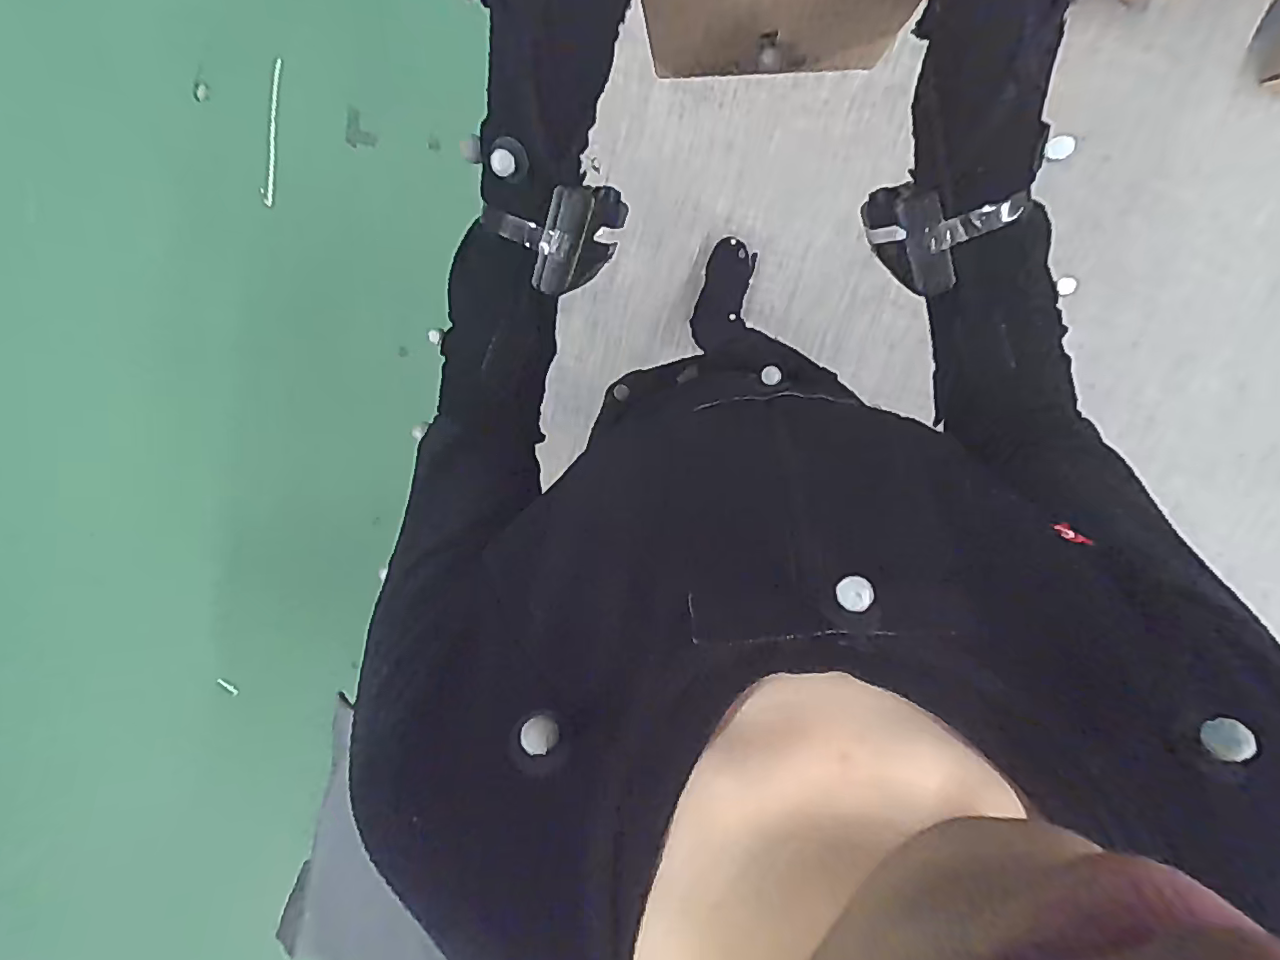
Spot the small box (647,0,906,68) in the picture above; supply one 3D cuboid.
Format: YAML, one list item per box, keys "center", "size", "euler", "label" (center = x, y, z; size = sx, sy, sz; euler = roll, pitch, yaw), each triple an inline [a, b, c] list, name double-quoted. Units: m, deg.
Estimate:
- center: [0.084, -0.375, 0.309]
  size: [0.168, 0.176, 0.179]
  euler: [3, 107, 6]
  label: "small box"
